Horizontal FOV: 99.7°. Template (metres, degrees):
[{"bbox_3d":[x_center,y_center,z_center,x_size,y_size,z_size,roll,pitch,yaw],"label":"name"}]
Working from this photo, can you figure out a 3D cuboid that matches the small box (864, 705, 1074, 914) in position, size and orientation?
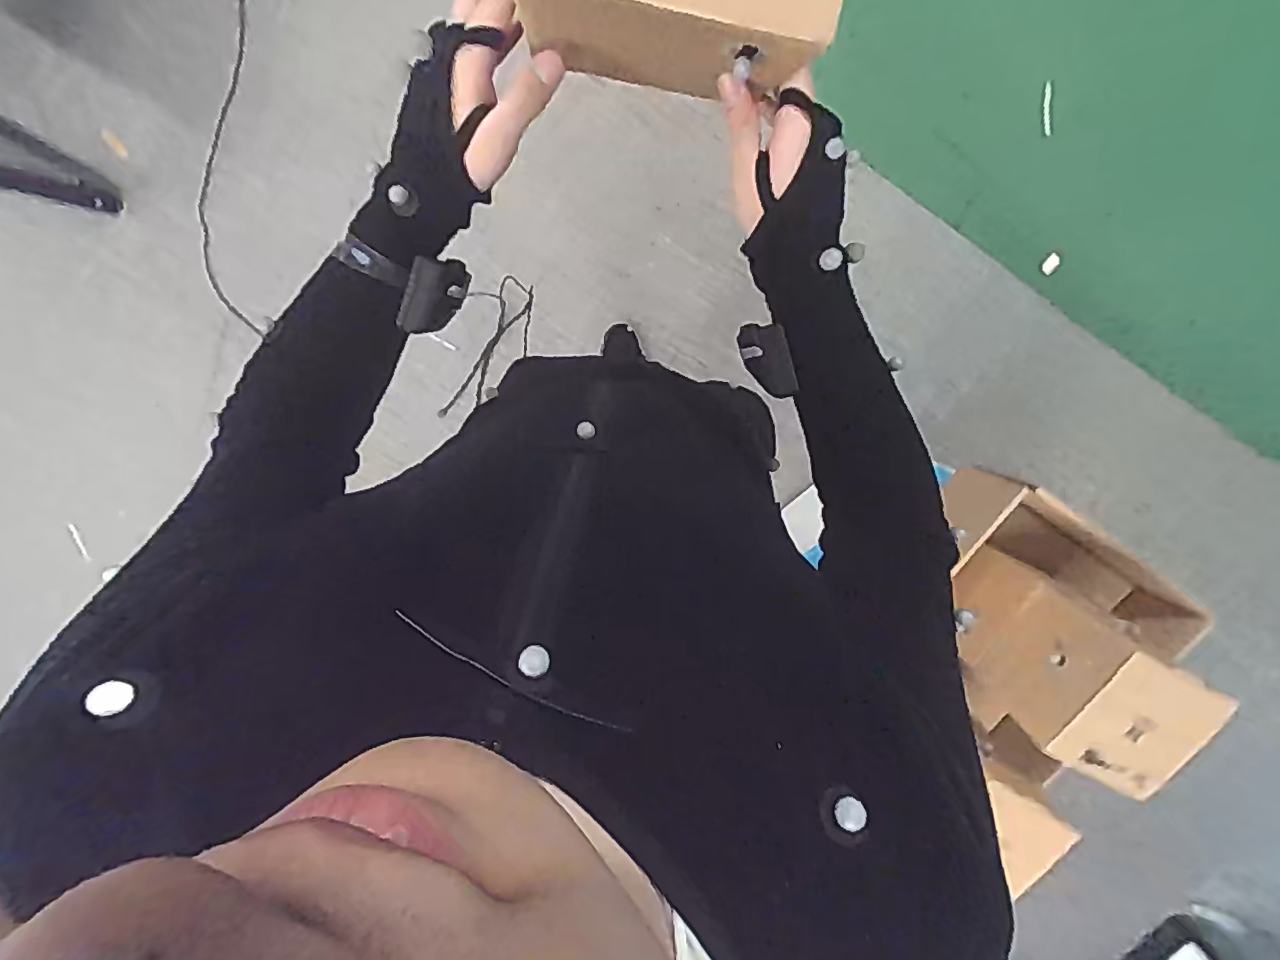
[{"bbox_3d":[0.474,0.482,0.814,0.168,0.176,0.179,34,102,-7],"label":"small box"}]

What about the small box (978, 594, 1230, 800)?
[{"bbox_3d":[0.628,0.292,0.762,0.168,0.176,0.179,28,104,-5],"label":"small box"}]

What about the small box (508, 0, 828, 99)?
[{"bbox_3d":[0.012,-0.347,0.316,0.179,0.176,0.168,3,115,-10],"label":"small box"}]
